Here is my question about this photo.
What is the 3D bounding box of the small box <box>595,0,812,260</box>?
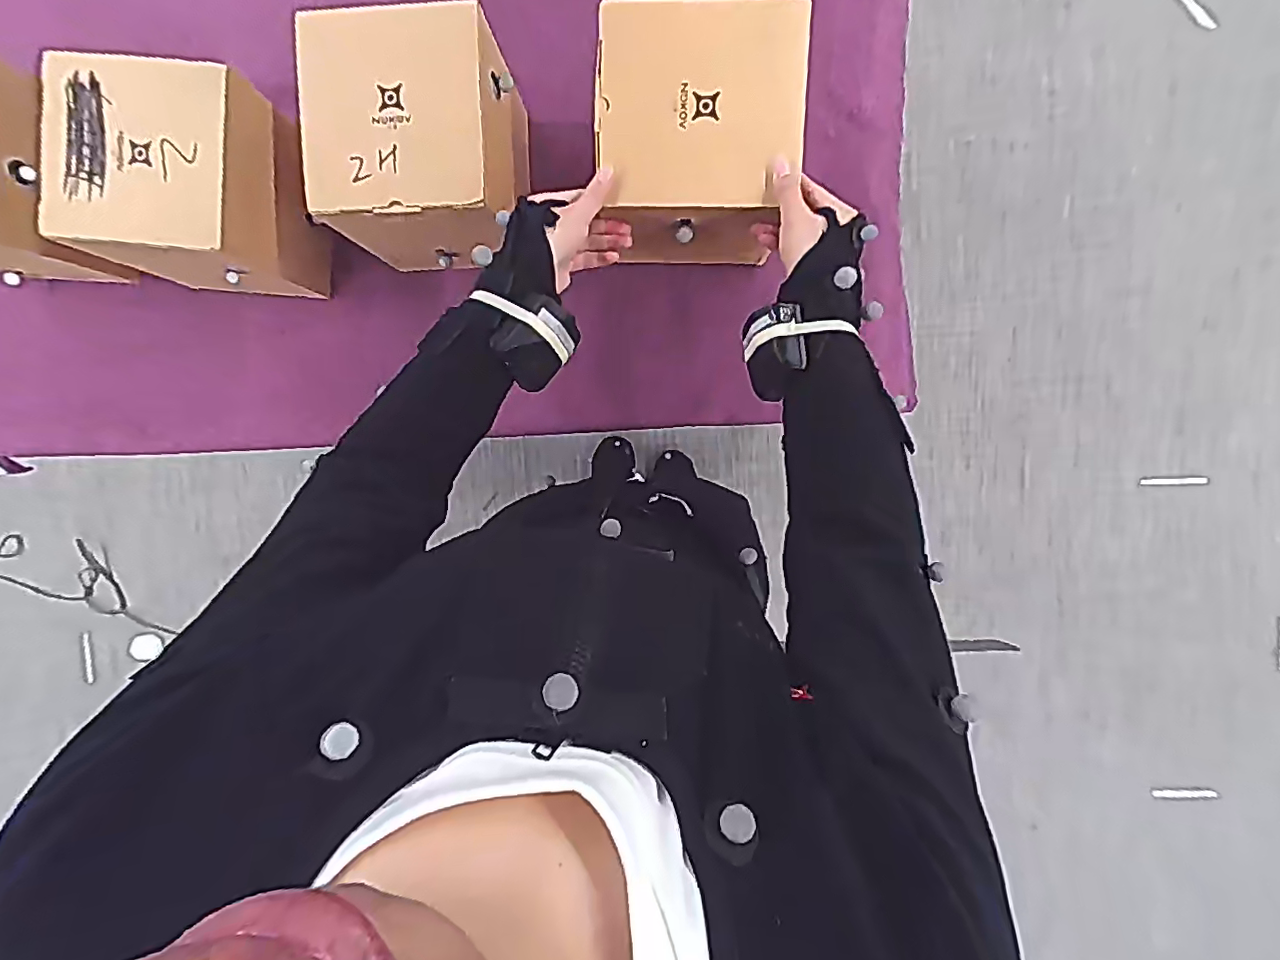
[{"bbox_3d":[0.055,-0.325,0.531,0.179,0.176,0.168,2,97,4],"label":"small box"}]

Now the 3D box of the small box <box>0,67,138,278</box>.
[{"bbox_3d":[-0.692,-0.328,0.579,0.168,0.176,0.179,4,94,2],"label":"small box"}]

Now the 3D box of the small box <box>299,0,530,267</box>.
[{"bbox_3d":[-0.215,-0.336,0.557,0.168,0.176,0.179,-1,94,3],"label":"small box"}]
